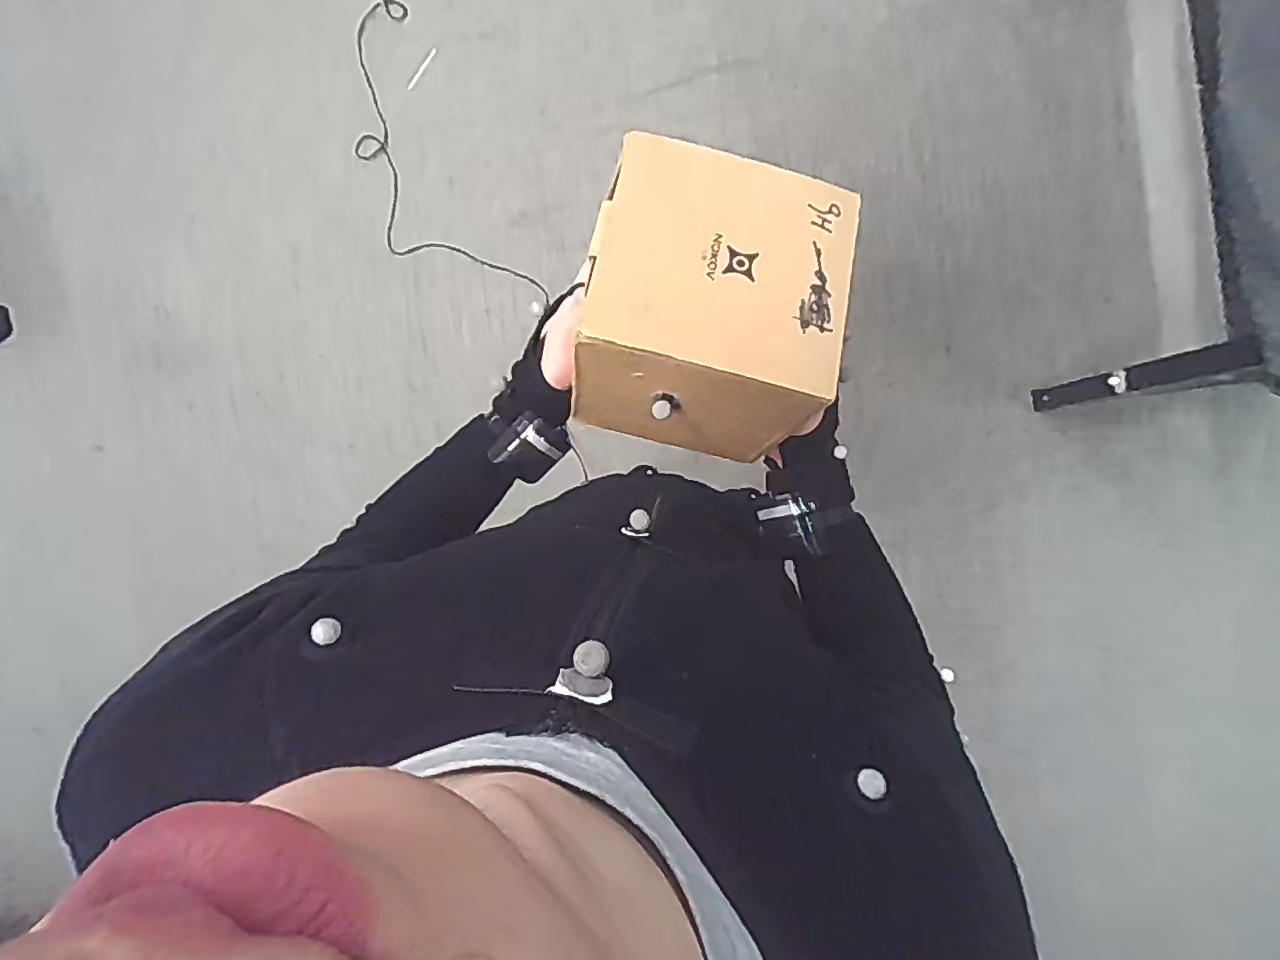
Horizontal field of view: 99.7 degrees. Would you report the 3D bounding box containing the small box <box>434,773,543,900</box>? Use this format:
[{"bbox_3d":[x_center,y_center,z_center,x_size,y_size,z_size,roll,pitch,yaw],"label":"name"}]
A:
[{"bbox_3d":[-0.329,0.781,1.198,0.179,0.176,0.168,-9,90,3],"label":"small box"}]

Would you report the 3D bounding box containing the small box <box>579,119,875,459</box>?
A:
[{"bbox_3d":[0.053,-0.127,0.423,0.179,0.176,0.168,13,75,-5],"label":"small box"}]
